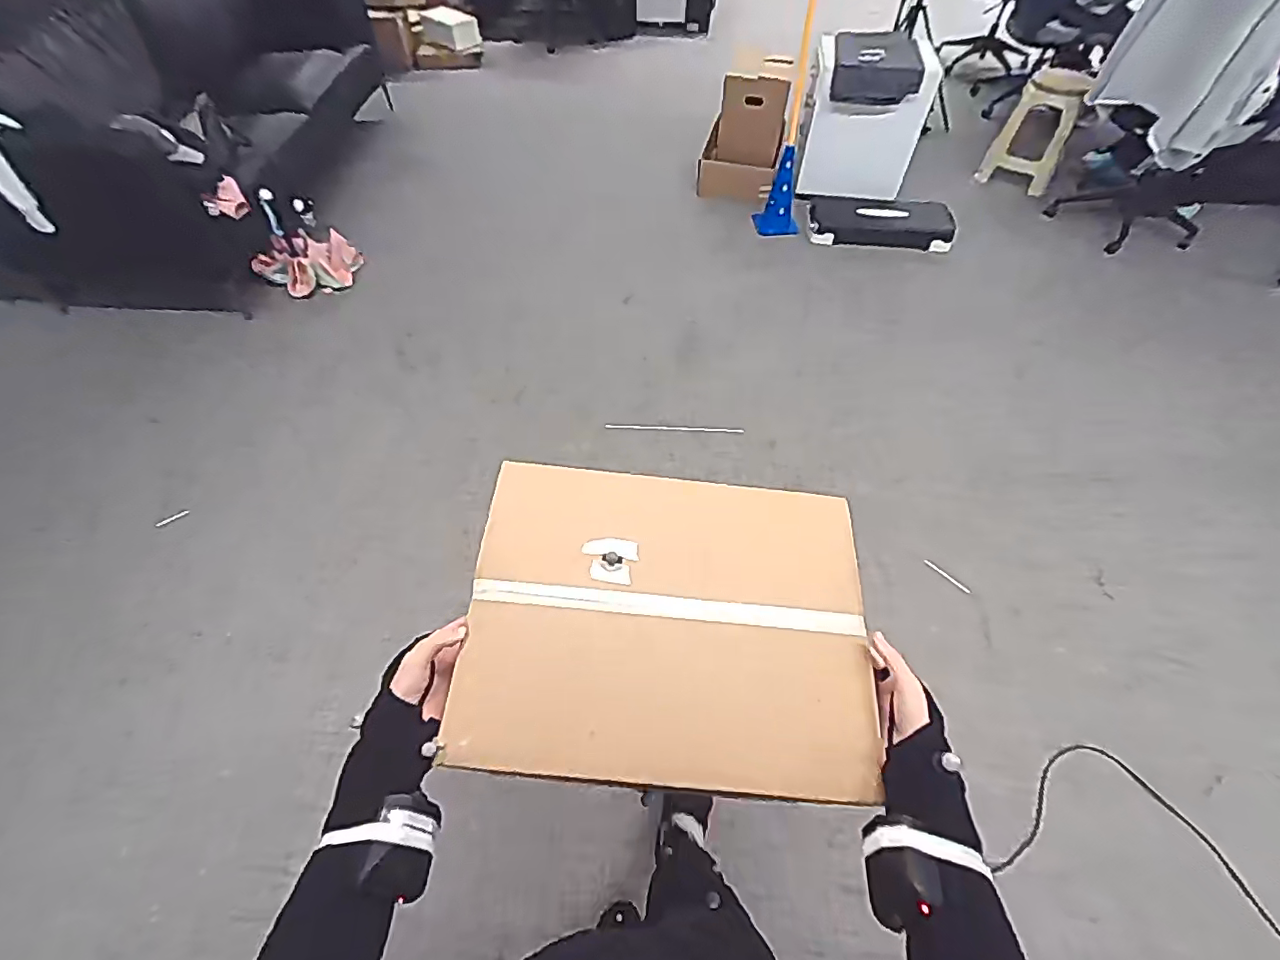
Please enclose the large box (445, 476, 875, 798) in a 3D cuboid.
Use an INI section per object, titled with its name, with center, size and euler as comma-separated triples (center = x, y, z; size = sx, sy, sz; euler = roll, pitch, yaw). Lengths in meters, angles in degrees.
[large box]
center = 0.022, 0.216, 0.695
size = 0.408, 0.320, 0.320
euler = 6, 58, -1
